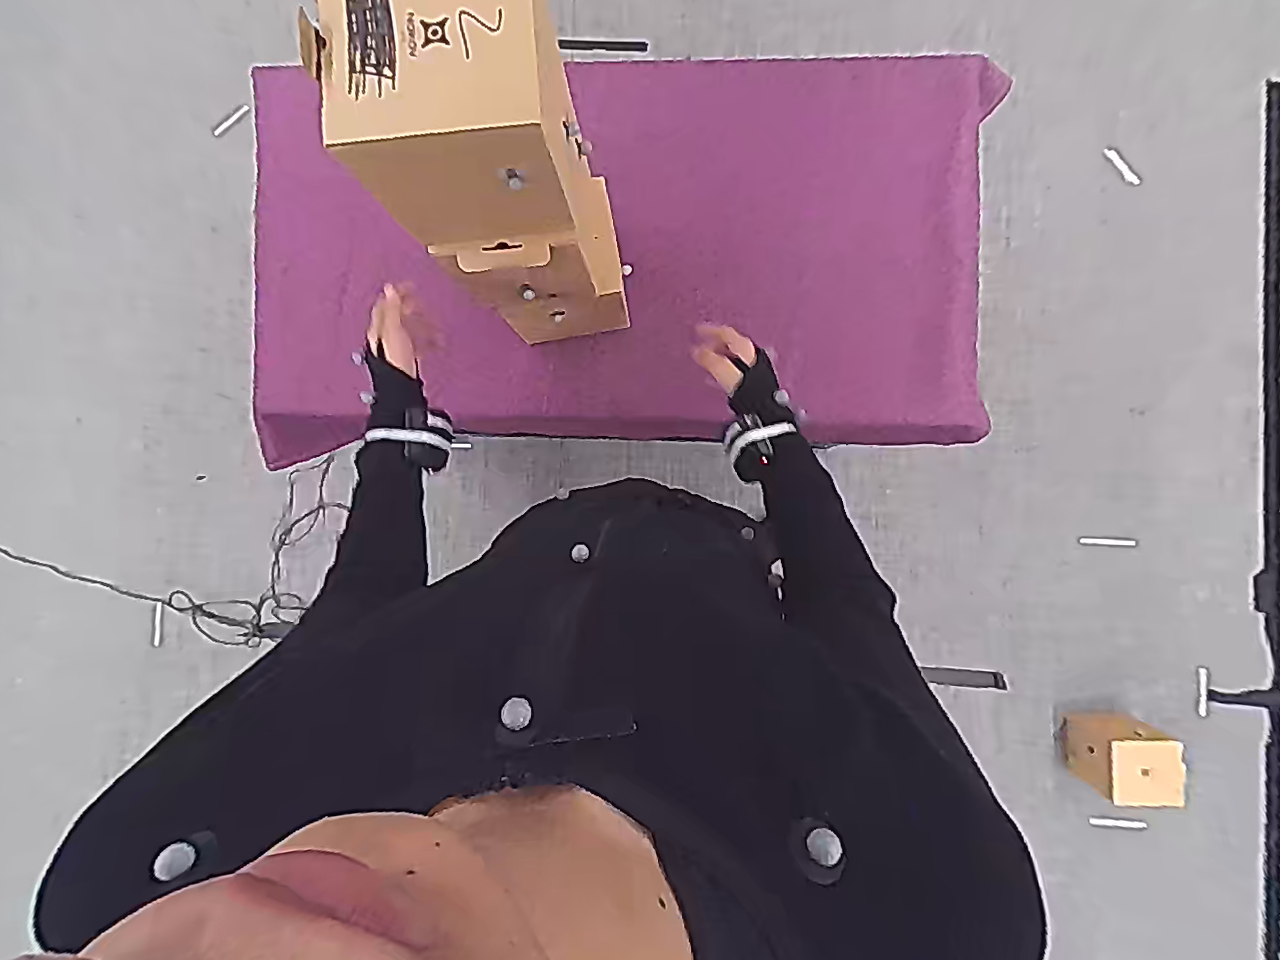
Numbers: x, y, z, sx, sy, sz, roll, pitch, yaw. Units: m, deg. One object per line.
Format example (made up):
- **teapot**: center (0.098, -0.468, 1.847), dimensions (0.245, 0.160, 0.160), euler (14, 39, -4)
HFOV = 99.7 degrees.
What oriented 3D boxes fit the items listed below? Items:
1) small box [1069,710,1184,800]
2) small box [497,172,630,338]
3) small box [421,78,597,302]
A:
- **small box**: center (1.304, 0.738, 1.464), dimensions (0.179, 0.176, 0.168), euler (-2, 90, 3)
- **small box**: center (-0.117, -0.327, 0.820), dimensions (0.179, 0.176, 0.168), euler (-9, 89, 2)
- **small box**: center (-0.147, -0.336, 0.657), dimensions (0.168, 0.176, 0.179), euler (-4, 89, 4)
